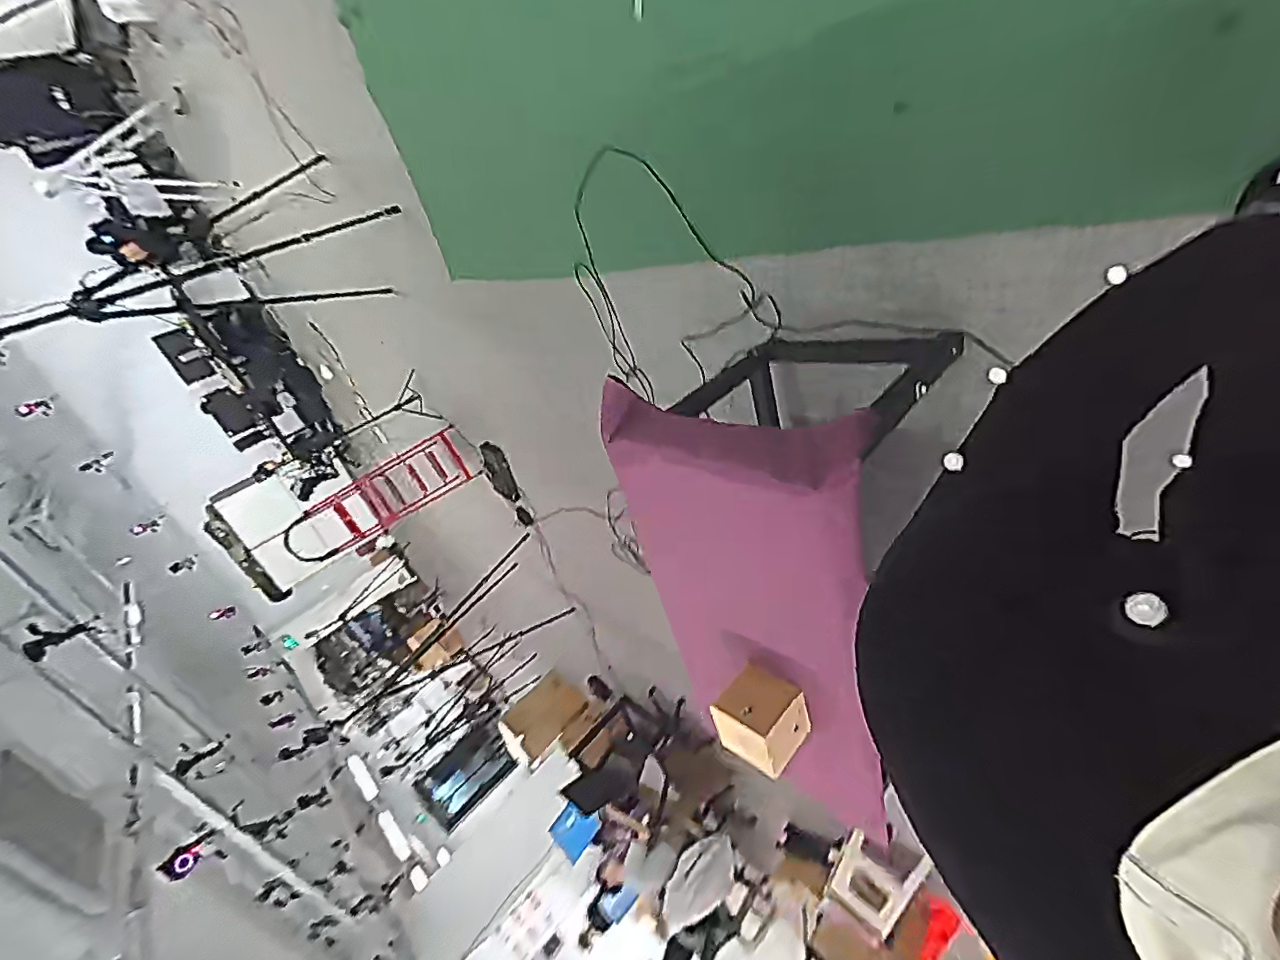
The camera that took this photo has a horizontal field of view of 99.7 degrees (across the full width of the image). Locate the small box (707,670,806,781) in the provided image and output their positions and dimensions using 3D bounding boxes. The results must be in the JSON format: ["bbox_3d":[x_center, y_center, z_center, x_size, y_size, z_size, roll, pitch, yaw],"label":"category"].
[{"bbox_3d":[0.307,0.630,1.413,0.179,0.176,0.168,13,131,46],"label":"small box"}]
